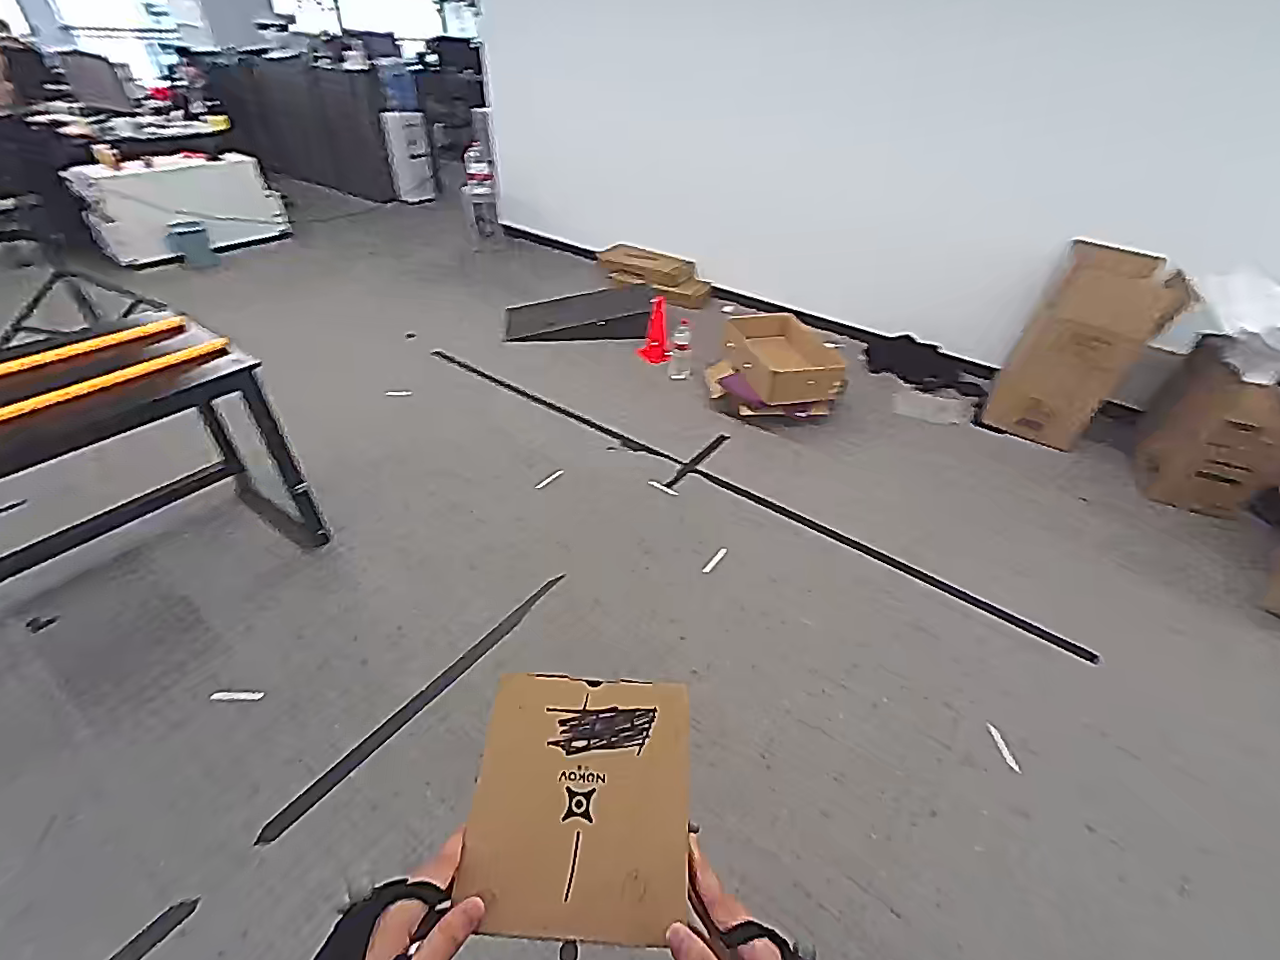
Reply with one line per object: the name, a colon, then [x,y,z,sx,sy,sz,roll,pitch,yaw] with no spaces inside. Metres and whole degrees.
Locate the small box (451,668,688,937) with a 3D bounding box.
small box: [-0.047,0.288,0.482,0.168,0.176,0.179,2,50,1]
